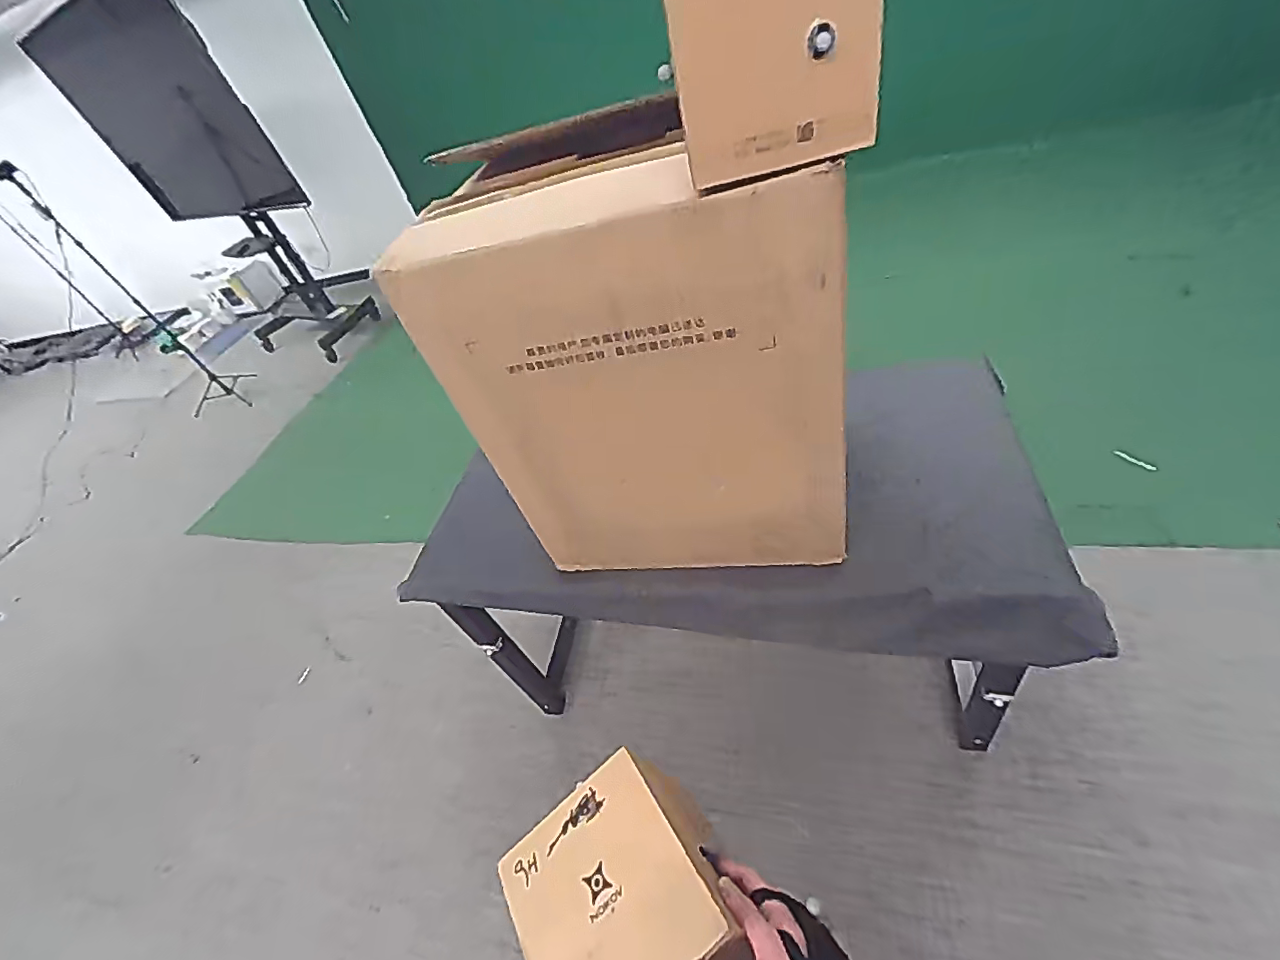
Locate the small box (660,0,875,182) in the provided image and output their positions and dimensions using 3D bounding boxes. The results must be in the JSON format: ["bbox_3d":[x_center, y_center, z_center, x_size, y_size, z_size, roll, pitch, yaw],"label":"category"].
[{"bbox_3d":[0.113,-0.398,0.502,0.168,0.176,0.179,-7,44,11],"label":"small box"}]

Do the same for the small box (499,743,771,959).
[{"bbox_3d":[0.001,0.399,0.527,0.168,0.176,0.179,-41,45,-6],"label":"small box"}]
